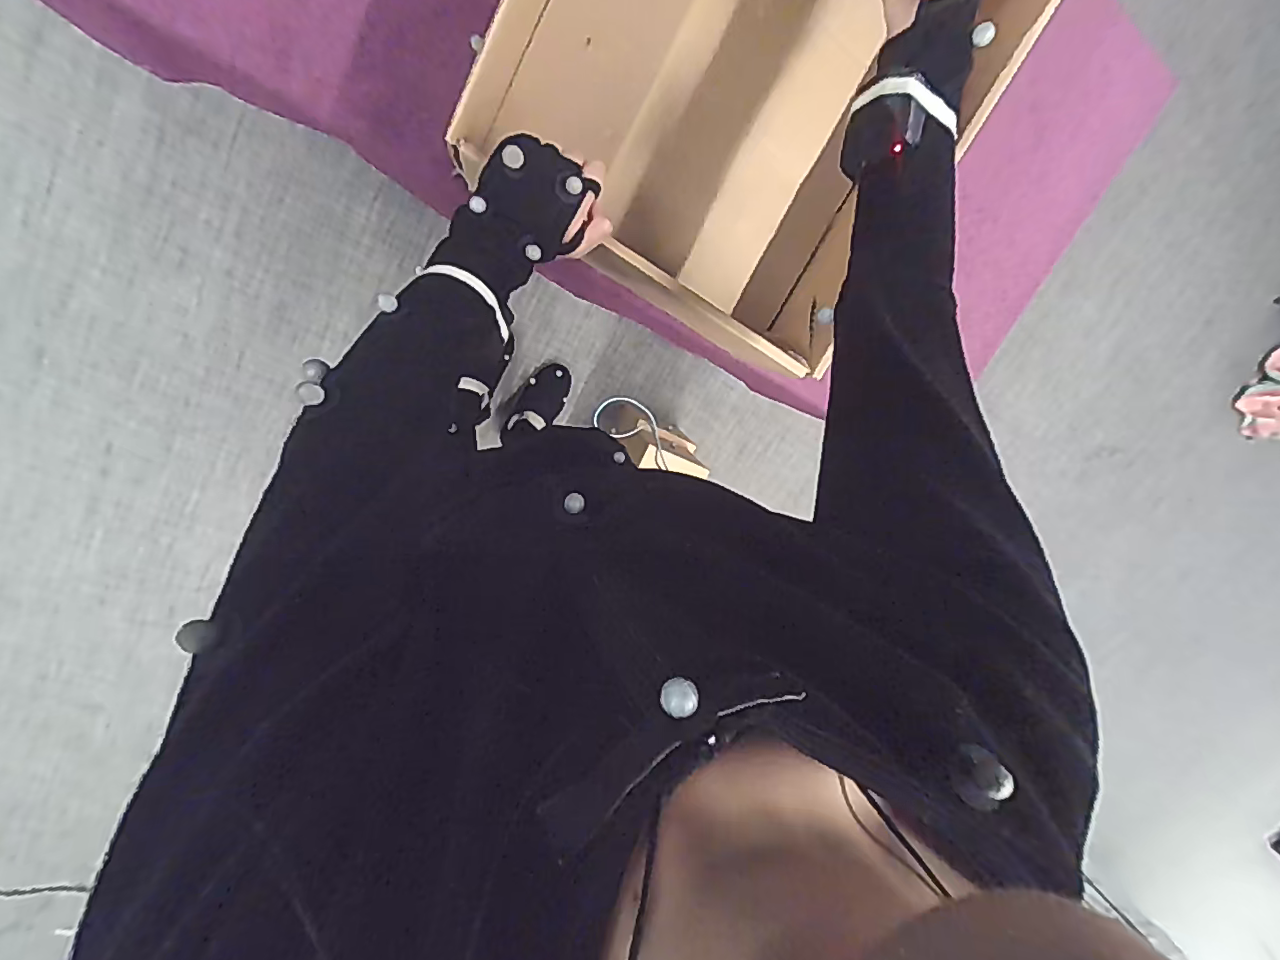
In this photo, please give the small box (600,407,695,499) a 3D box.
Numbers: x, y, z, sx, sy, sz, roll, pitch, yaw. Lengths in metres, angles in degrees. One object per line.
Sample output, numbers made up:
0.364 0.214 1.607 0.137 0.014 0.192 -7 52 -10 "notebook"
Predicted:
0.013 -0.078 1.446 0.179 0.176 0.168 23 104 -21 "small box"
